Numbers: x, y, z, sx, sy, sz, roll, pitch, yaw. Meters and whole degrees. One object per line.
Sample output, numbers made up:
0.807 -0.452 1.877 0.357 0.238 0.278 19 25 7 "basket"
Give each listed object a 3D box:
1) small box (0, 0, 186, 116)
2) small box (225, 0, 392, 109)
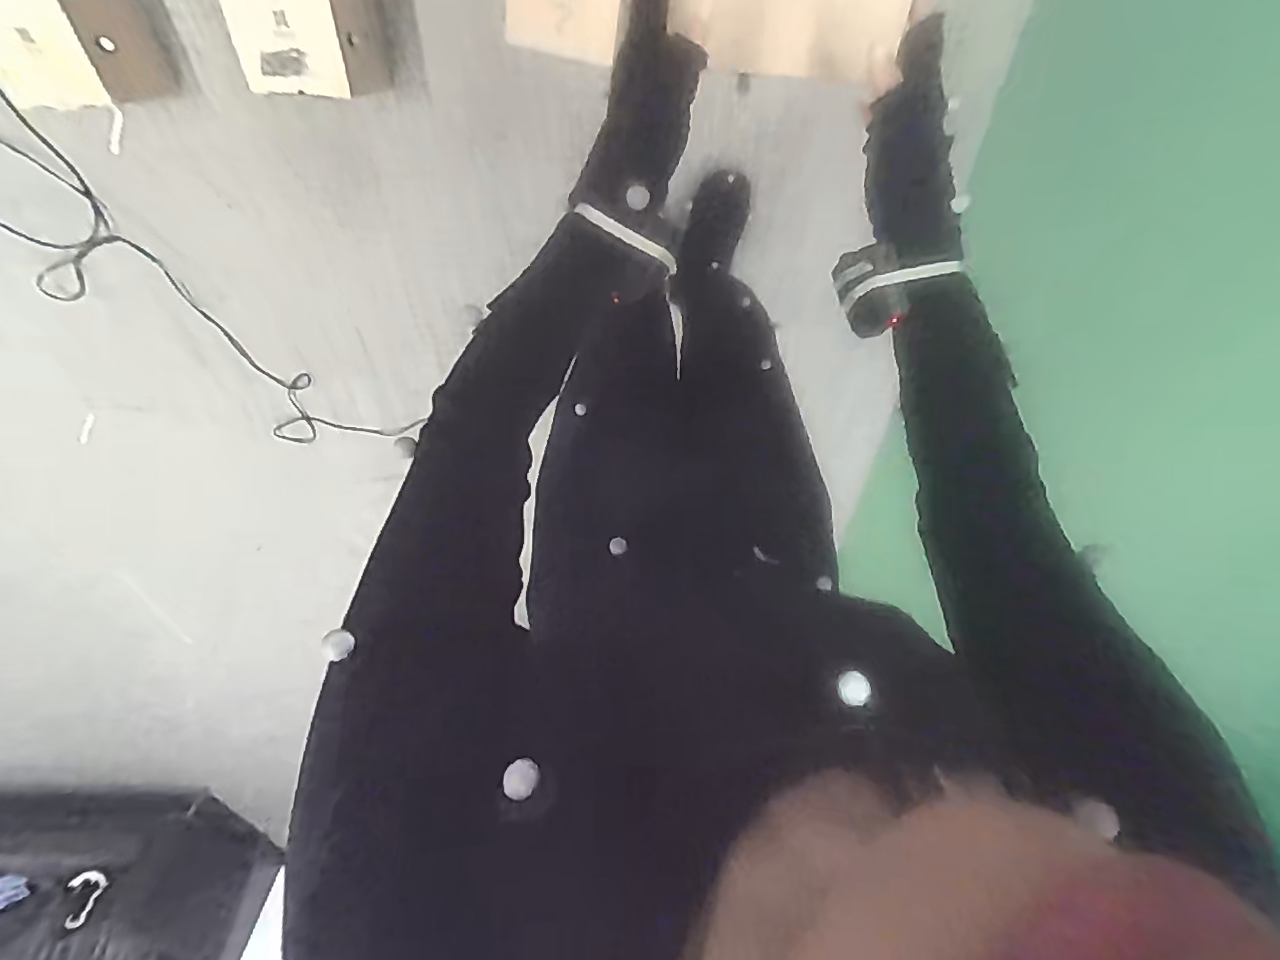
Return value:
-0.934 -0.726 0.907 0.168 0.176 0.179 0 130 3 "small box"
-0.532 -0.728 0.885 0.168 0.176 0.179 4 129 0 "small box"
